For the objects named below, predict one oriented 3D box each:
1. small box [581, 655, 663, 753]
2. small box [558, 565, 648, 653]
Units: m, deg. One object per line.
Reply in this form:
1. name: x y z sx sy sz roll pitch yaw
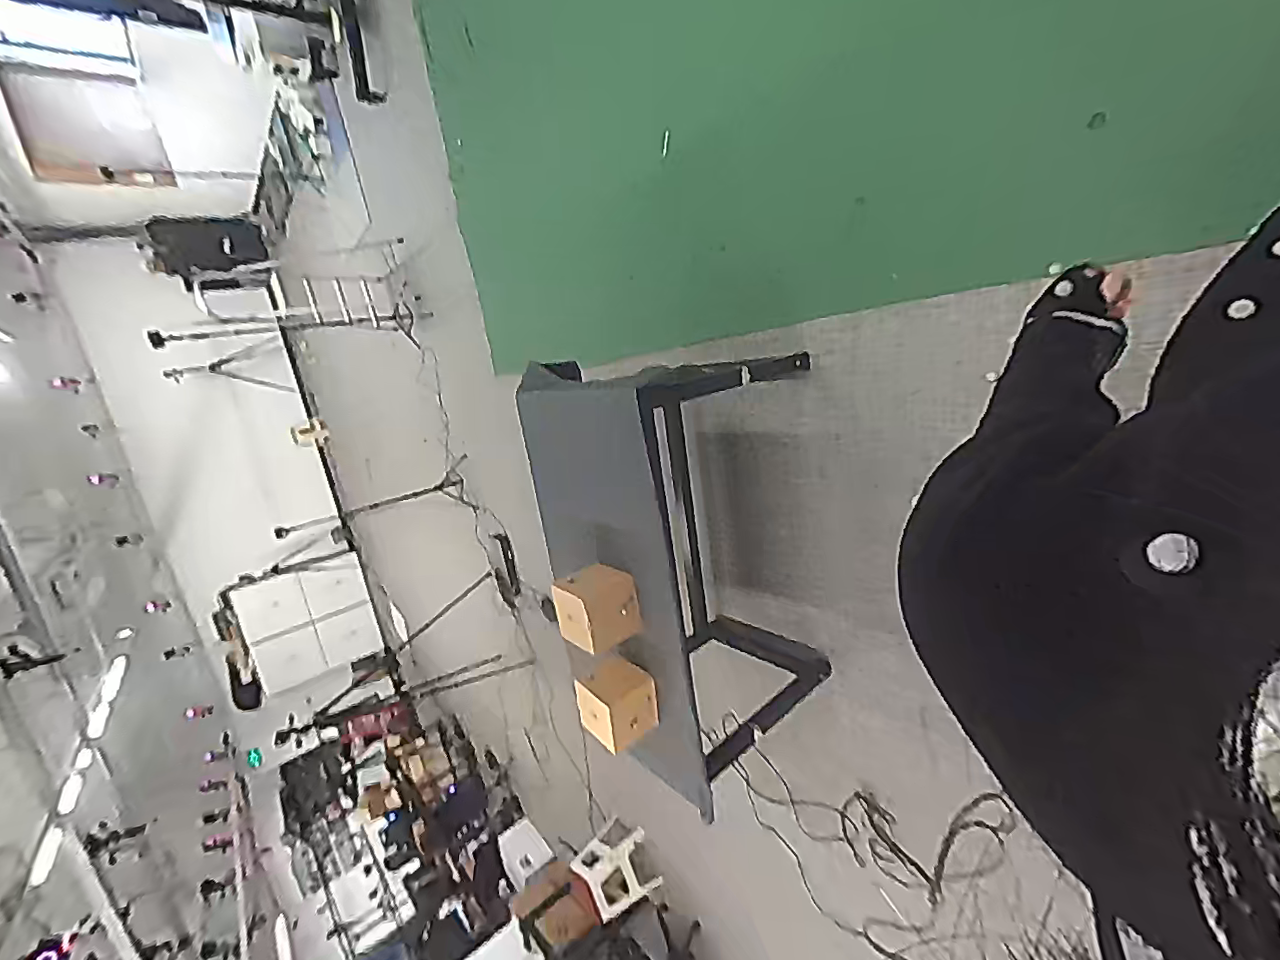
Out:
1. small box: -0.046 0.640 1.574 0.179 0.176 0.168 16 118 50
2. small box: -0.103 0.350 1.511 0.179 0.176 0.168 8 112 52
